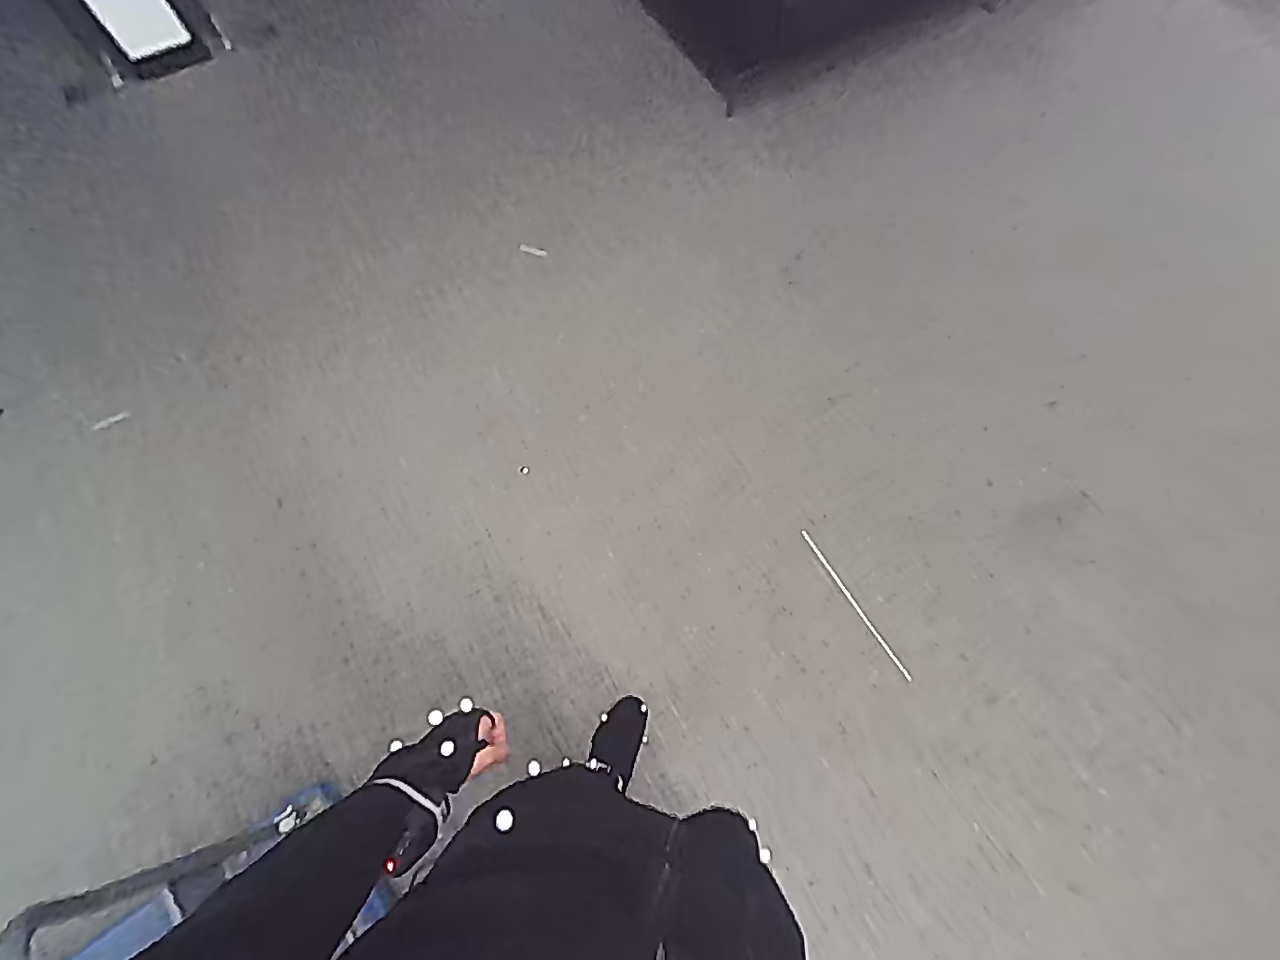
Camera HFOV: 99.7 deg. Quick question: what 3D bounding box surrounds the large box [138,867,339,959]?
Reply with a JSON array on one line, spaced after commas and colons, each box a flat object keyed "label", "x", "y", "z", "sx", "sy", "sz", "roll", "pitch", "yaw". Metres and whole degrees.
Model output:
[{"label": "large box", "x": -0.785, "y": 0.976, "z": 0.907, "sx": 0.408, "sy": 0.320, "sz": 0.320, "roll": -34, "pitch": 75, "yaw": -12}]
